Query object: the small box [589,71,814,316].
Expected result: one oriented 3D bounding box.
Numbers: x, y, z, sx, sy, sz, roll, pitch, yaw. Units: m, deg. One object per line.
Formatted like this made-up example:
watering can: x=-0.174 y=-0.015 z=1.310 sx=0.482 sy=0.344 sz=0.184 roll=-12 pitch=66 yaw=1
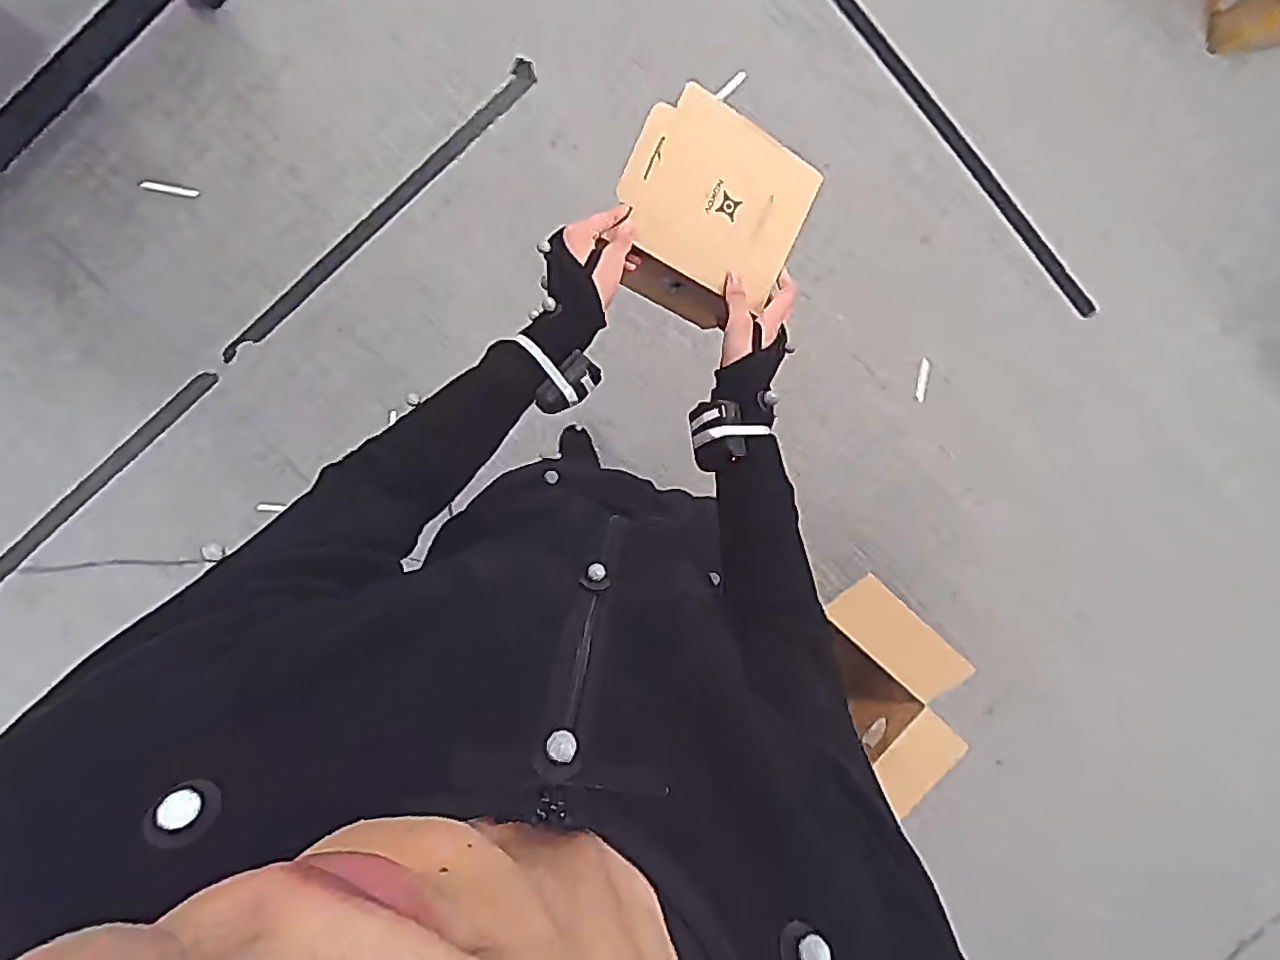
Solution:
small box: x=0.057 y=-0.304 z=0.626 sx=0.179 sy=0.176 sz=0.168 roll=23 pitch=94 yaw=-18
